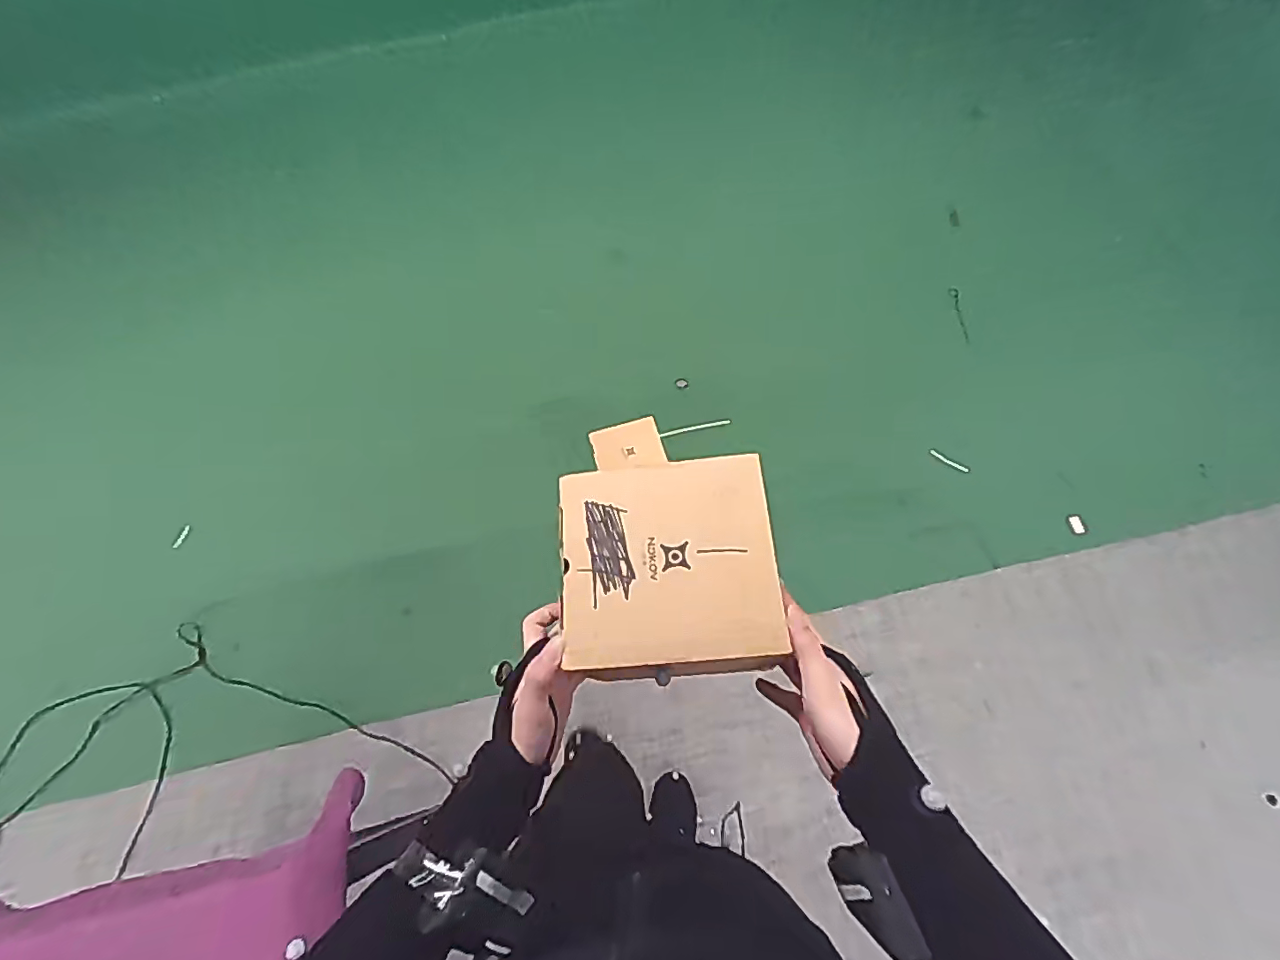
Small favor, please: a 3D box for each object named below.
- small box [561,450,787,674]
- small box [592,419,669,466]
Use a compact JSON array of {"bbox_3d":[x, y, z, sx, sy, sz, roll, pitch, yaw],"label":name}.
[{"bbox_3d":[0.033,0.089,0.513,0.179,0.176,0.168,-6,66,6],"label":"small box"},{"bbox_3d":[-0.016,-0.033,1.437,0.179,0.176,0.168,-16,66,-2],"label":"small box"}]
